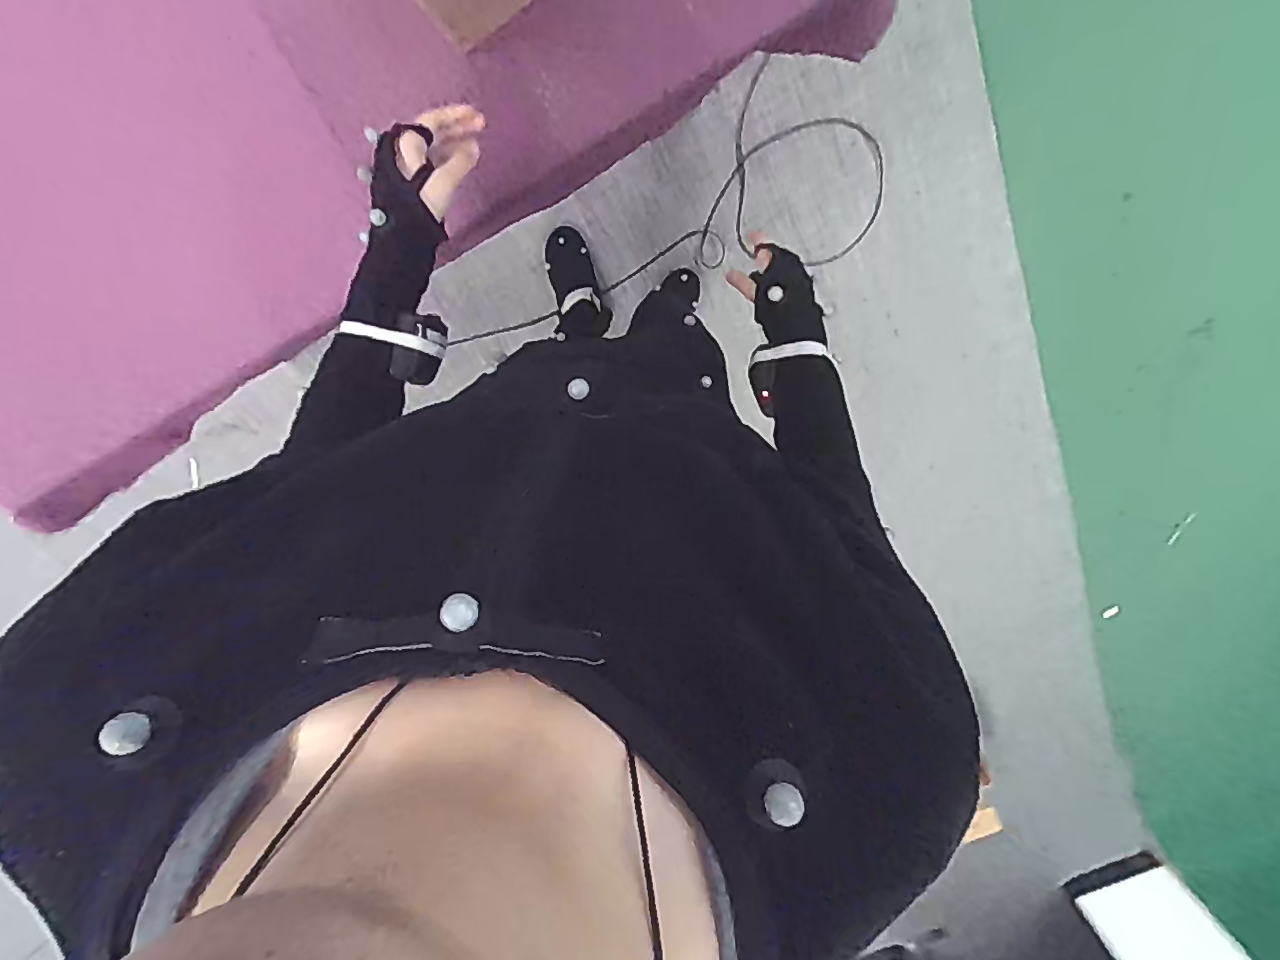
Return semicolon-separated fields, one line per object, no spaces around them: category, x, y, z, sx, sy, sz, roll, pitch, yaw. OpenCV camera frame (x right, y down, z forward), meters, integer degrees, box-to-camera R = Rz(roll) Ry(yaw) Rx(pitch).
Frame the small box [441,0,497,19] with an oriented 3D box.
small box;-0.142;-0.516;0.420;0.179;0.176;0.168;-30;115;11

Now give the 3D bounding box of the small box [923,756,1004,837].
small box;1.159;1.133;1.946;0.179;0.176;0.168;-28;115;10
